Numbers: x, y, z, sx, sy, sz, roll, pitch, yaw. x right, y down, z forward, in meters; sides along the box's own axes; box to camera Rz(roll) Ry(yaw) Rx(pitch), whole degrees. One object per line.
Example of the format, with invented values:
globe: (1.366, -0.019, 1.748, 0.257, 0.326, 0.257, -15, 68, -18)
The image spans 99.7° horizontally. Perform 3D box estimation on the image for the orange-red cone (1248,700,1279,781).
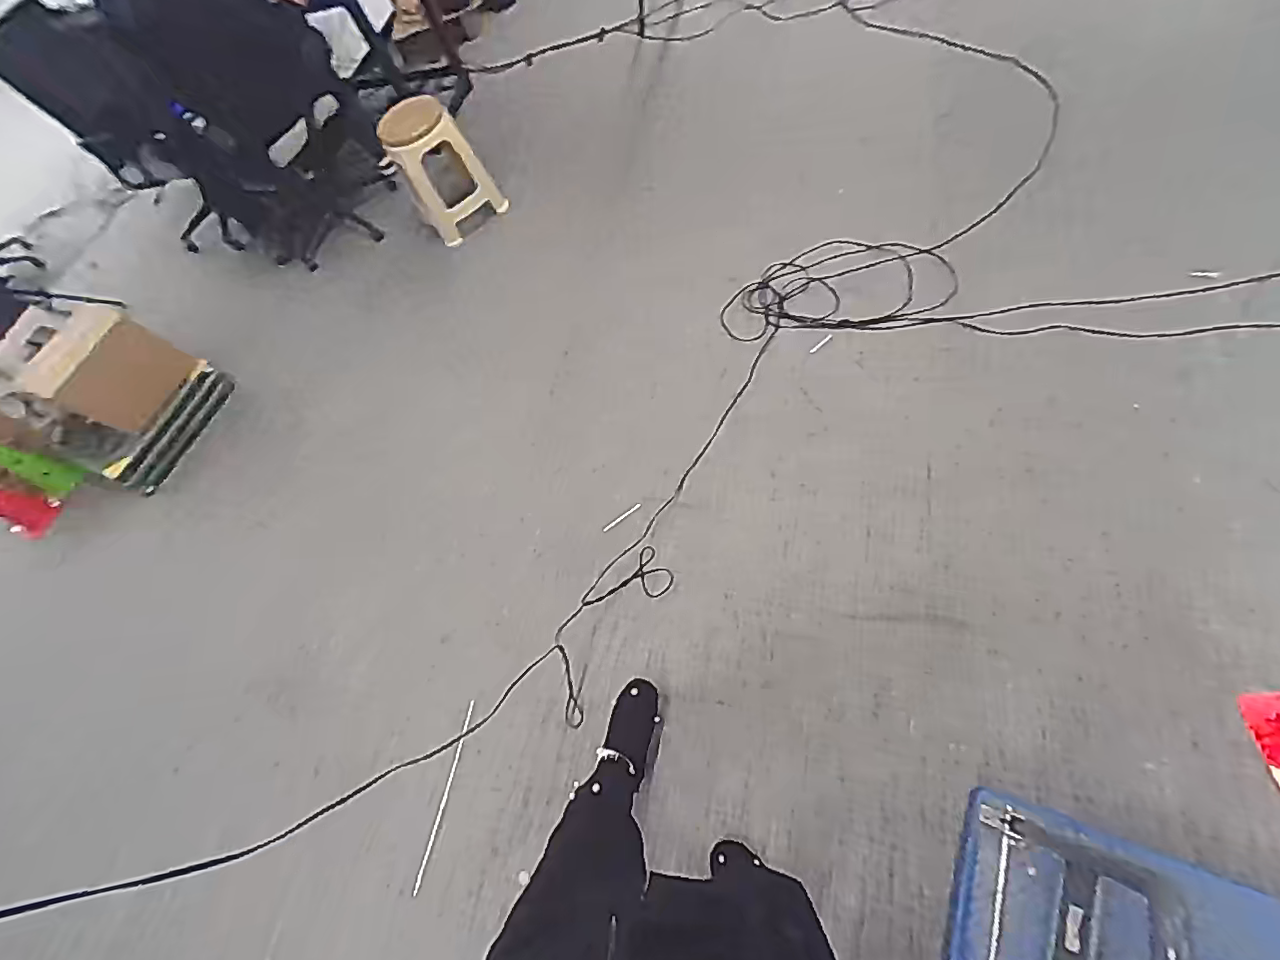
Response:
orange-red cone: (1.349, 0.476, 0.950, 0.198, 0.360, 0.199, -7, 62, 11)
